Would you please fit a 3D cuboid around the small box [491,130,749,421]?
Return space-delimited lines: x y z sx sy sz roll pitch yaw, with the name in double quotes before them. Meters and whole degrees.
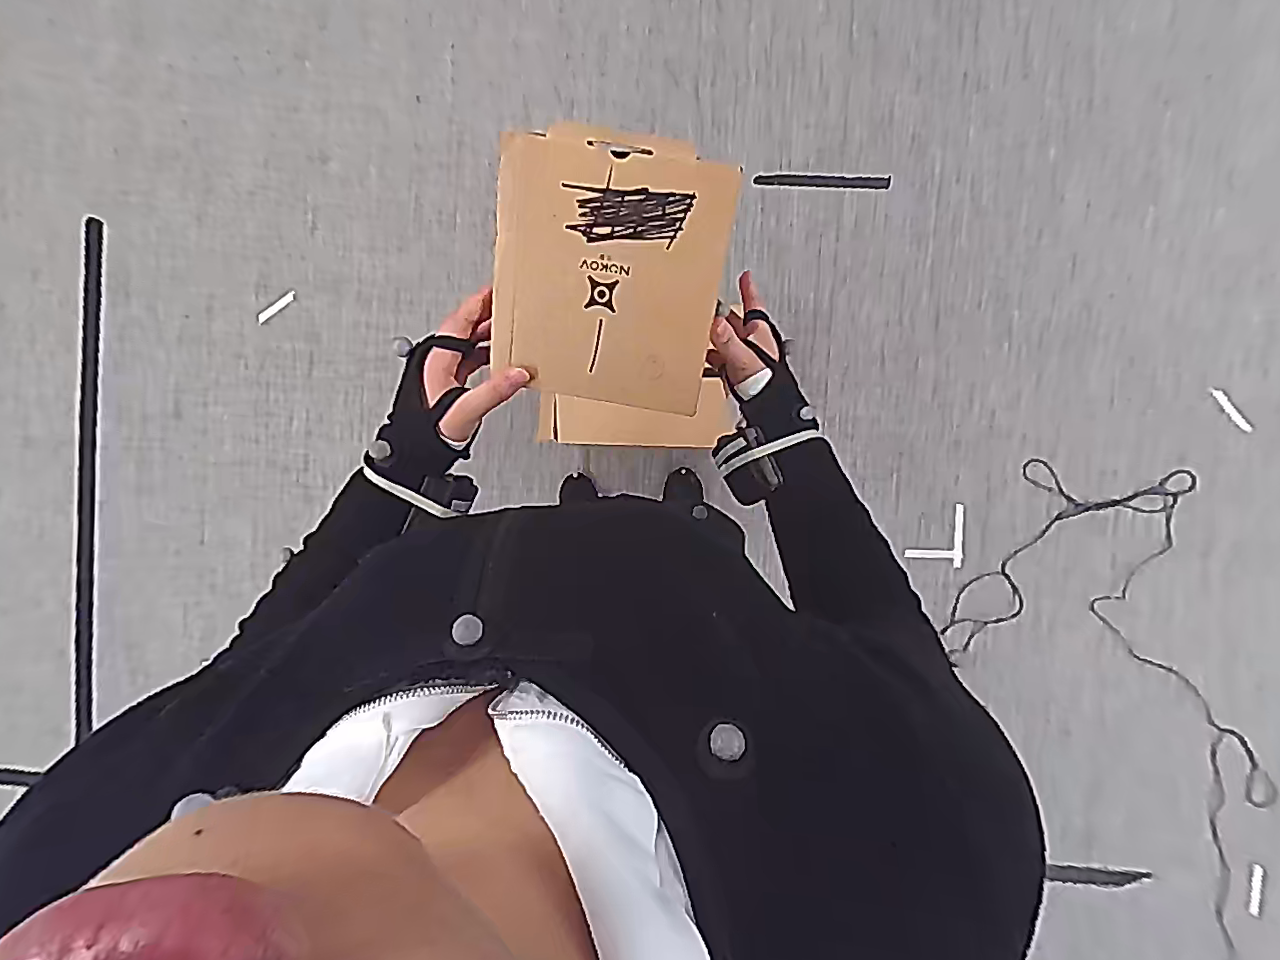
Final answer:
"small box" -0.014 -0.164 0.460 0.168 0.176 0.179 10 109 3
